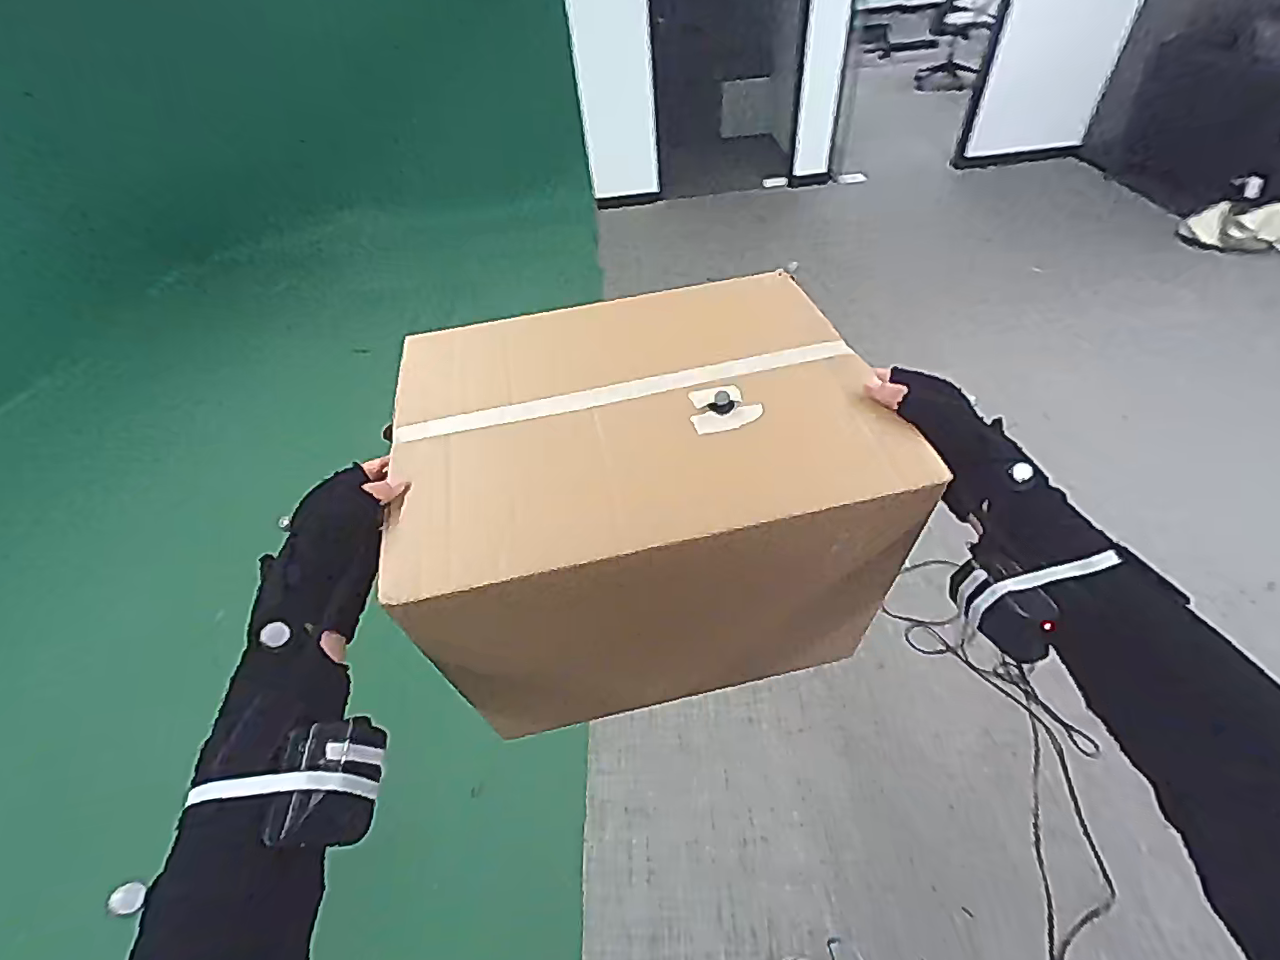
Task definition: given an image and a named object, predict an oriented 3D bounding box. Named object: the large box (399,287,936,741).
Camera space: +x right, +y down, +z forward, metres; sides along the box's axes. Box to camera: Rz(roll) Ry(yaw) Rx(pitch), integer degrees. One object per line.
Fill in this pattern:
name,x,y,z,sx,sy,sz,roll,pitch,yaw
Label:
large box,0.006,0.036,0.588,0.408,0.320,0.320,-12,49,-5
